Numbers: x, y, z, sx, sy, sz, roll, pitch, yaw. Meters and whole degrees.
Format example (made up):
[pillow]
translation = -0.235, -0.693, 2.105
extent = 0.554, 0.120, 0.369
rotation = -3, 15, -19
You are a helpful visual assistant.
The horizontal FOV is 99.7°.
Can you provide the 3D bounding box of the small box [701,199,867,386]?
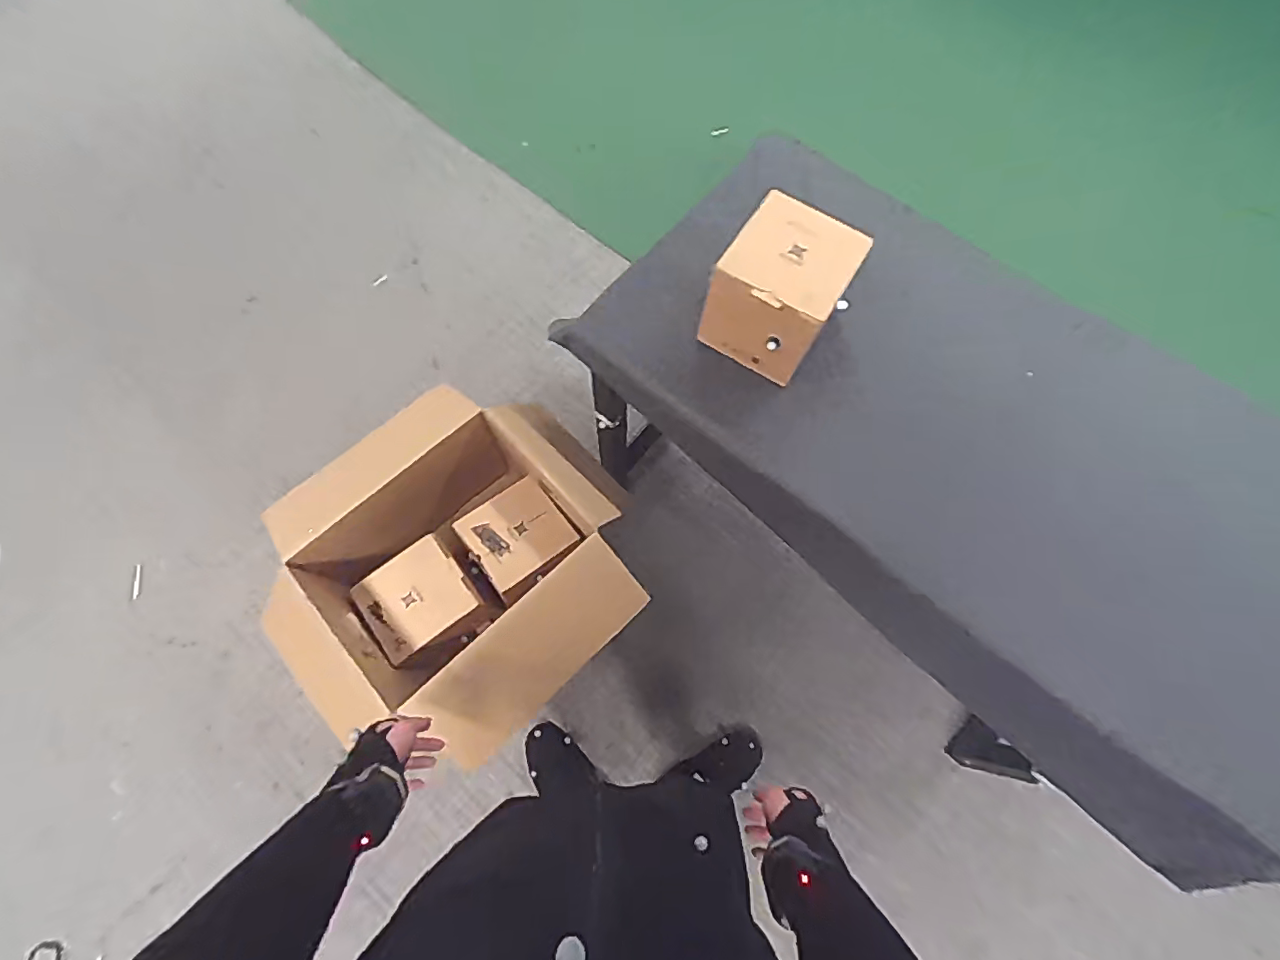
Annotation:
[small box]
translation = 0.207, -0.277, 0.828
extent = 0.168, 0.176, 0.179
rotation = 31, 69, 7
